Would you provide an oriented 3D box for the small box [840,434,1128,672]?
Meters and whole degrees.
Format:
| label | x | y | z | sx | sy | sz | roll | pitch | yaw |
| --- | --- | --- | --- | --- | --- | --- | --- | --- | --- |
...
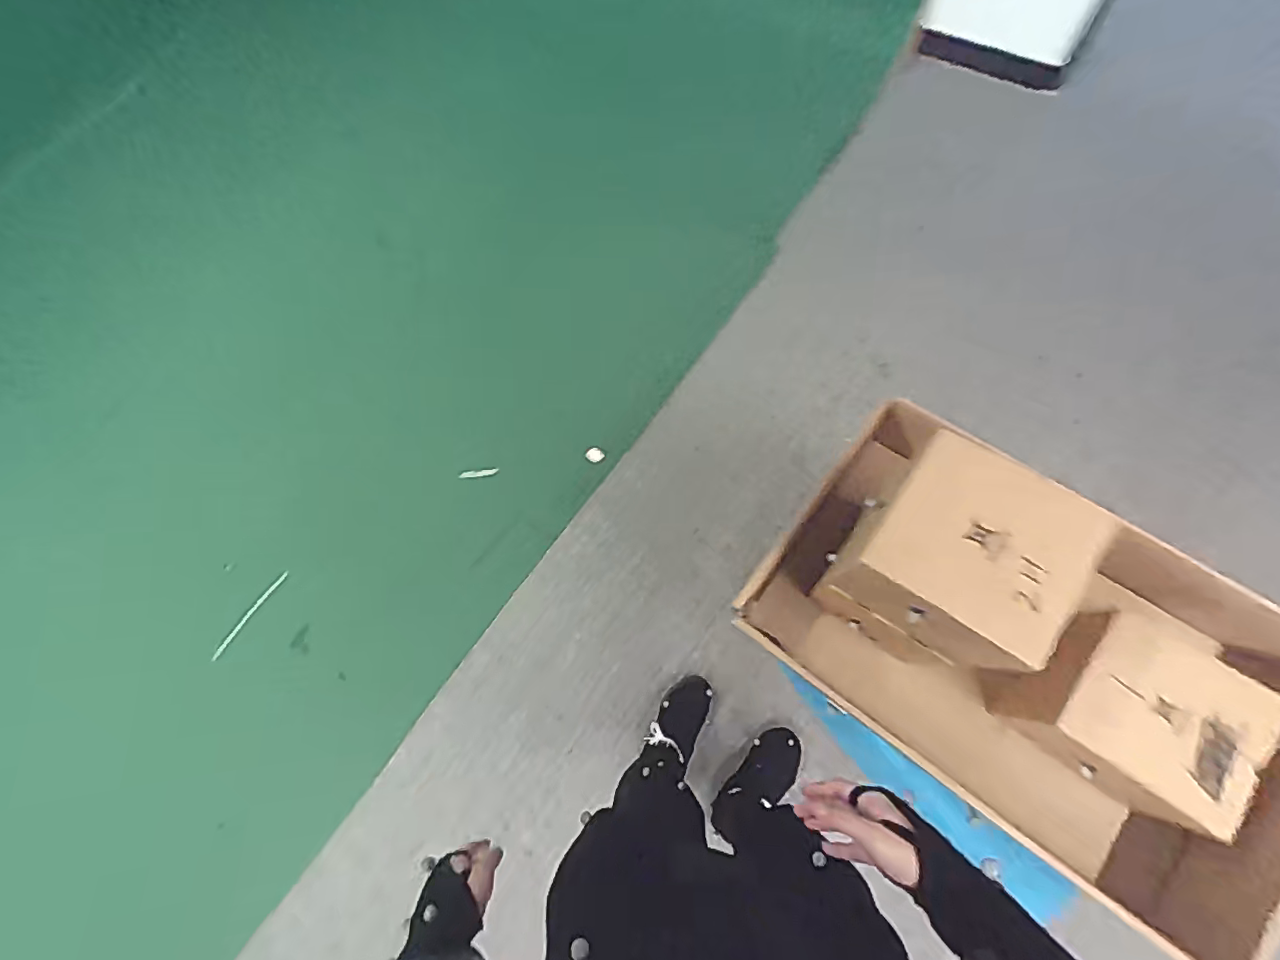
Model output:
| label | x | y | z | sx | sy | sz | roll | pitch | yaw |
| --- | --- | --- | --- | --- | --- | --- | --- | --- | --- |
| small box | 0.342 | 0.085 | 0.580 | 0.179 | 0.176 | 0.168 | 34 | 80 | 16 |
